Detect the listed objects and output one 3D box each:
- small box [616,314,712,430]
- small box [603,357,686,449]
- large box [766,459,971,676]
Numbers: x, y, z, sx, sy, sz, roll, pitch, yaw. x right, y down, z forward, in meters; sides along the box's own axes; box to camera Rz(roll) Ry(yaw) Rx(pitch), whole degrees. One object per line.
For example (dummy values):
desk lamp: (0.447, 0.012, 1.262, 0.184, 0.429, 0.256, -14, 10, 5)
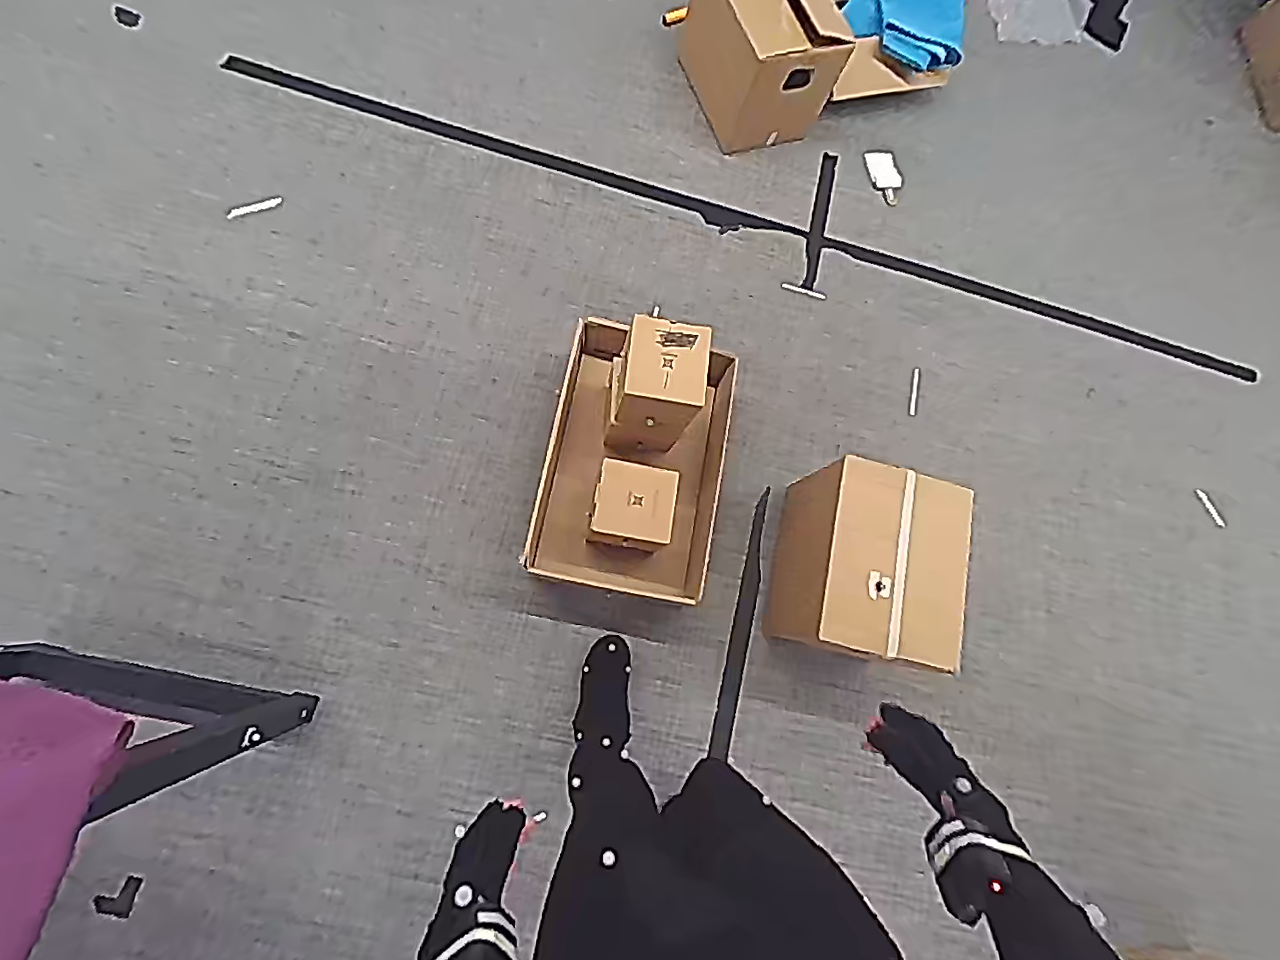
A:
small box: (0.046, -0.223, 1.155, 0.168, 0.176, 0.179, 9, 77, -7)
small box: (0.010, -0.179, 1.310, 0.179, 0.176, 0.168, 5, 77, -8)
large box: (0.524, 0.206, 1.279, 0.320, 0.320, 0.408, 15, 76, -4)
